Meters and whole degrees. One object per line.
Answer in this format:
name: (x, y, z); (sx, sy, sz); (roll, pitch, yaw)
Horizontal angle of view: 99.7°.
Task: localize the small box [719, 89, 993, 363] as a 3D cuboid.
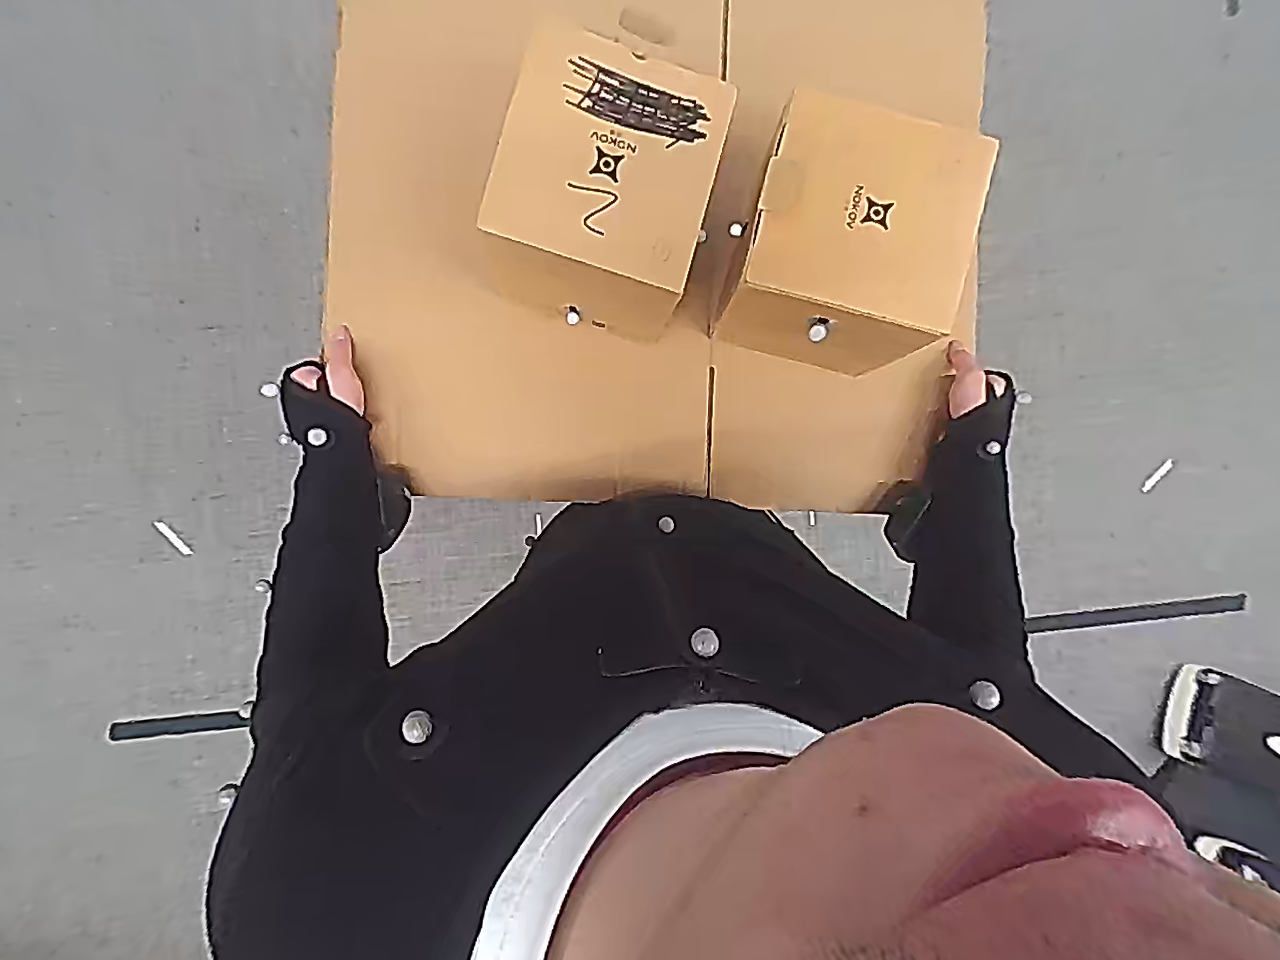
small box: (0.189, -0.224, 0.527); (0.179, 0.176, 0.168); (14, 89, 0)
